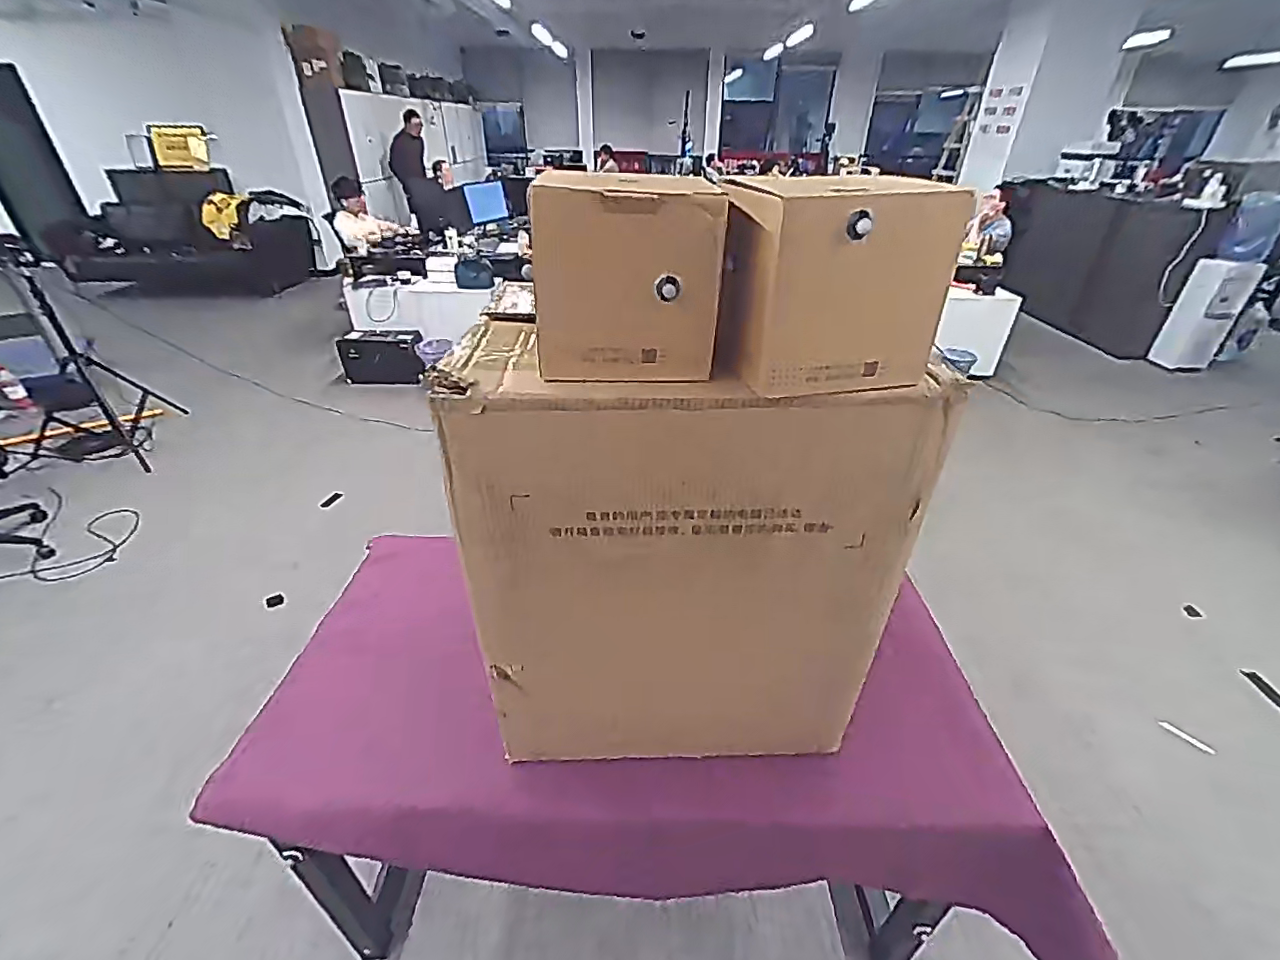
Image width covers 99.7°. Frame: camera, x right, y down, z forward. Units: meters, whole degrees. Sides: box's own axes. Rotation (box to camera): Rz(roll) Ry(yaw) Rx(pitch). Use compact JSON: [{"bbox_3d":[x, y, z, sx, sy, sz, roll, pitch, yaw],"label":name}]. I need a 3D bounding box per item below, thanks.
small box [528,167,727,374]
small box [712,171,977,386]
[{"bbox_3d":[-0.016,-0.214,0.548,0.168,0.176,0.179,1,31,-5],"label":"small box"},{"bbox_3d":[0.174,-0.202,0.528,0.168,0.176,0.179,-6,32,-9],"label":"small box"}]
